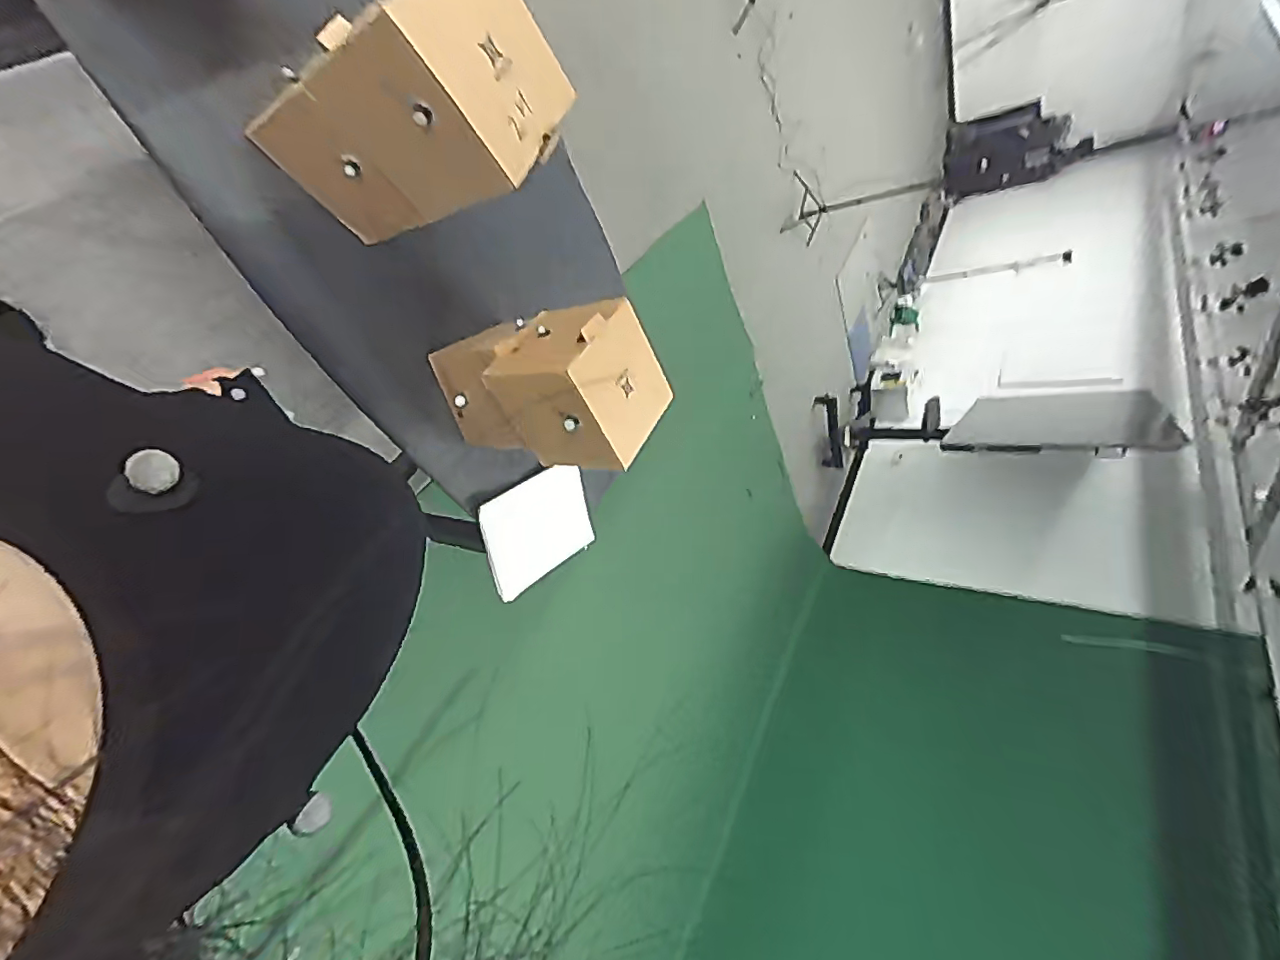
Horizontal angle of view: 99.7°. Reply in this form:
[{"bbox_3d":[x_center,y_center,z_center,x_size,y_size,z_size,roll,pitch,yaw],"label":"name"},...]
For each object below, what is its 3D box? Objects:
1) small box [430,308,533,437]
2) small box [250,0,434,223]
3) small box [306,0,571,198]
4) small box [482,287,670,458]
[{"bbox_3d":[-0.207,-0.184,0.896,0.179,0.176,0.168,-42,125,-42],"label":"small box"},{"bbox_3d":[-0.343,-0.460,0.687,0.179,0.176,0.168,43,62,-47],"label":"small box"},{"bbox_3d":[-0.214,-0.445,0.586,0.179,0.176,0.168,46,59,-45],"label":"small box"},{"bbox_3d":[-0.088,-0.152,0.786,0.168,0.176,0.179,-58,134,-31],"label":"small box"}]
